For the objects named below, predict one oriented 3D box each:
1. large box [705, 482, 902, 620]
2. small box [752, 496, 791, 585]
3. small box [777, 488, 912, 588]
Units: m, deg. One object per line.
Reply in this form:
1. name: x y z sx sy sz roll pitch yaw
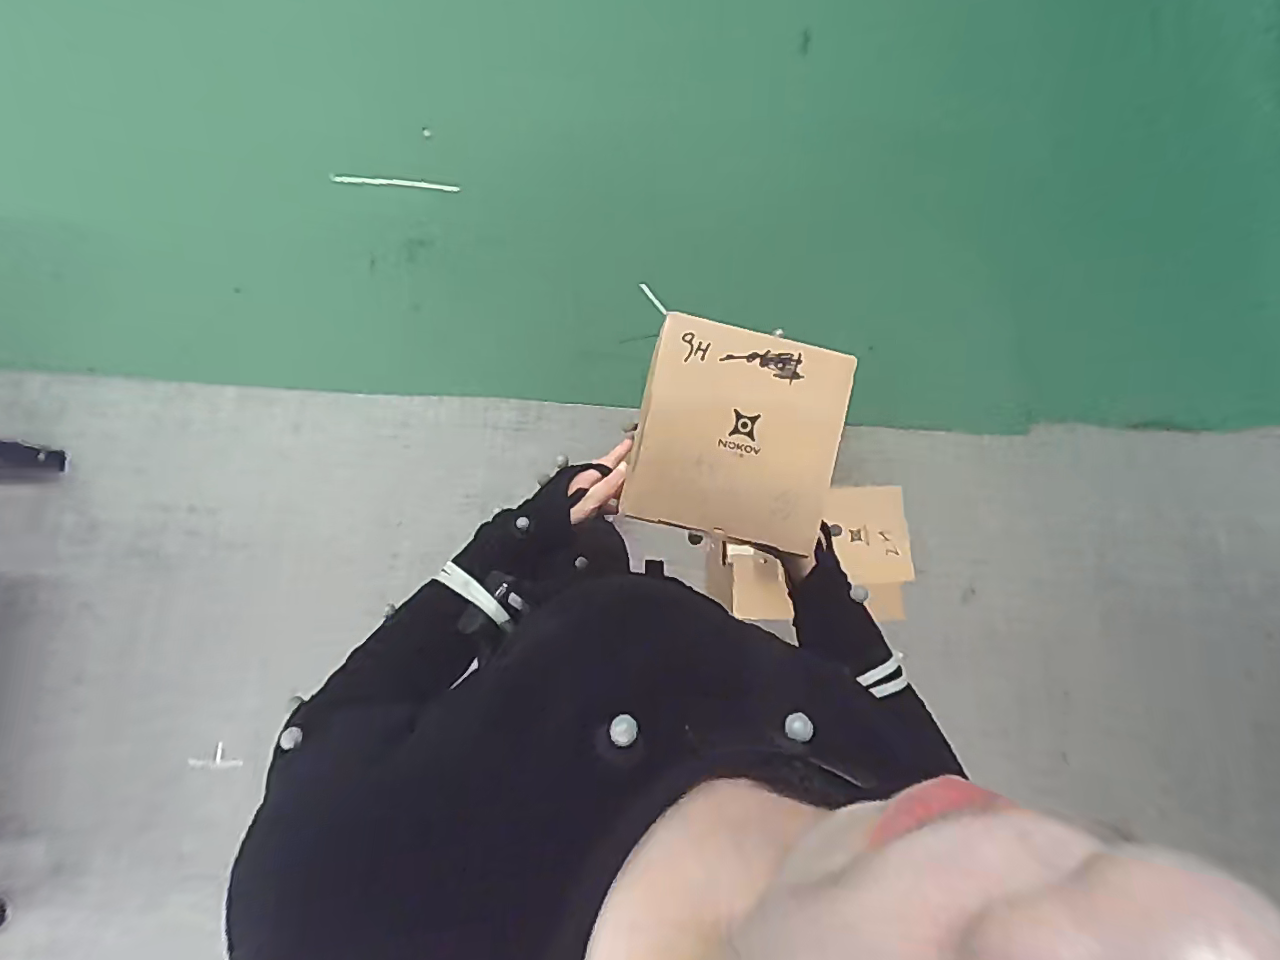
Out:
1. large box: 0.393 0.186 1.394 0.408 0.320 0.320 2 82 -5
2. small box: 0.342 0.132 1.152 0.168 0.176 0.179 1 81 -5
3. small box: 0.361 0.109 0.990 0.179 0.176 0.168 -3 82 -6
